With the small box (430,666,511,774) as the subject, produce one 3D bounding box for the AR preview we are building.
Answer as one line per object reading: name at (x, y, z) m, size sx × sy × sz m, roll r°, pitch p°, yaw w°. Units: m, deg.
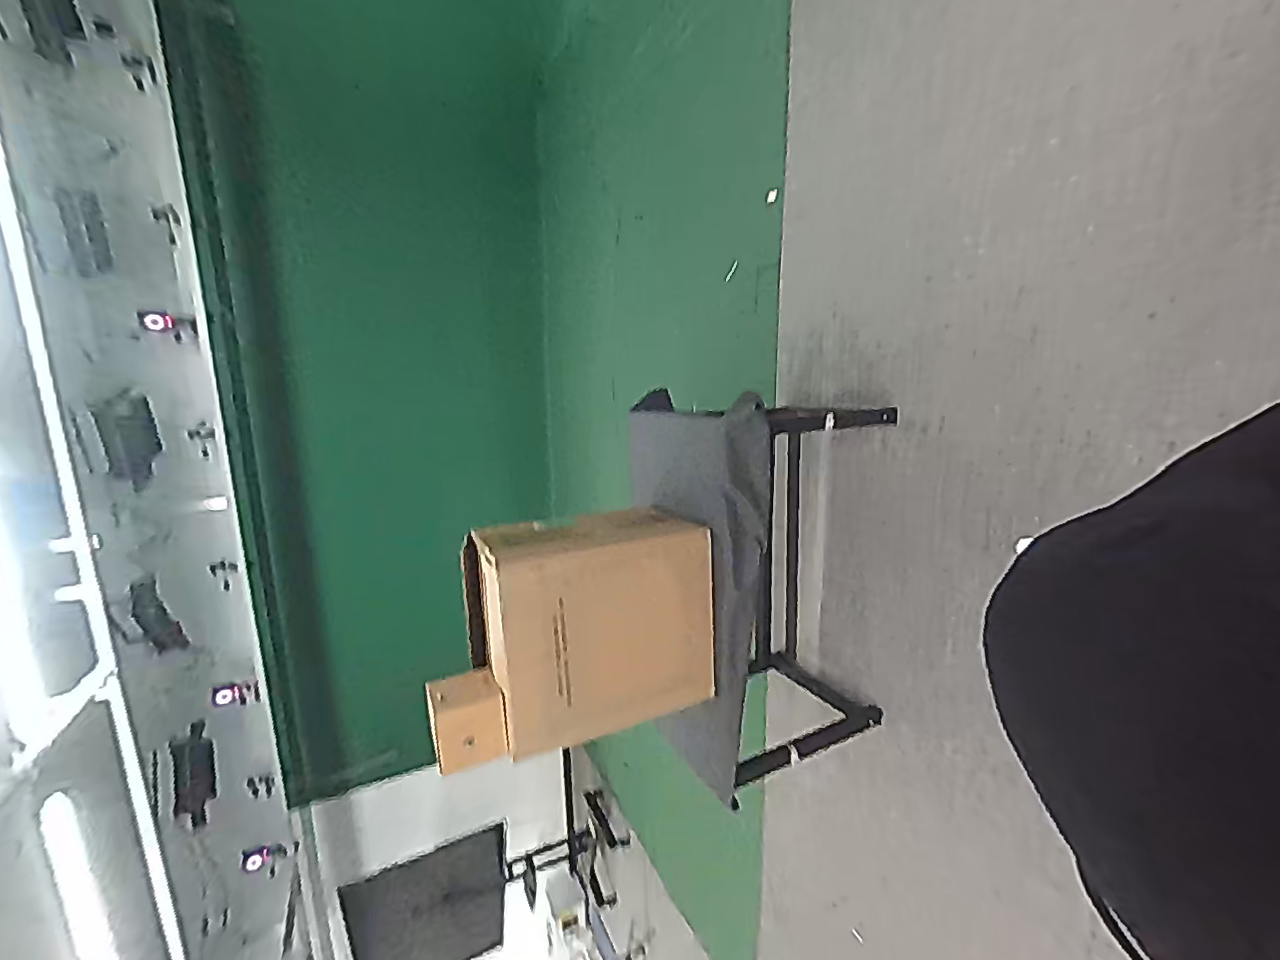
small box at (-0.444, 0.620, 1.417) m, size 0.168 × 0.176 × 0.179 m, roll 14°, pitch 110°, yaw 61°
